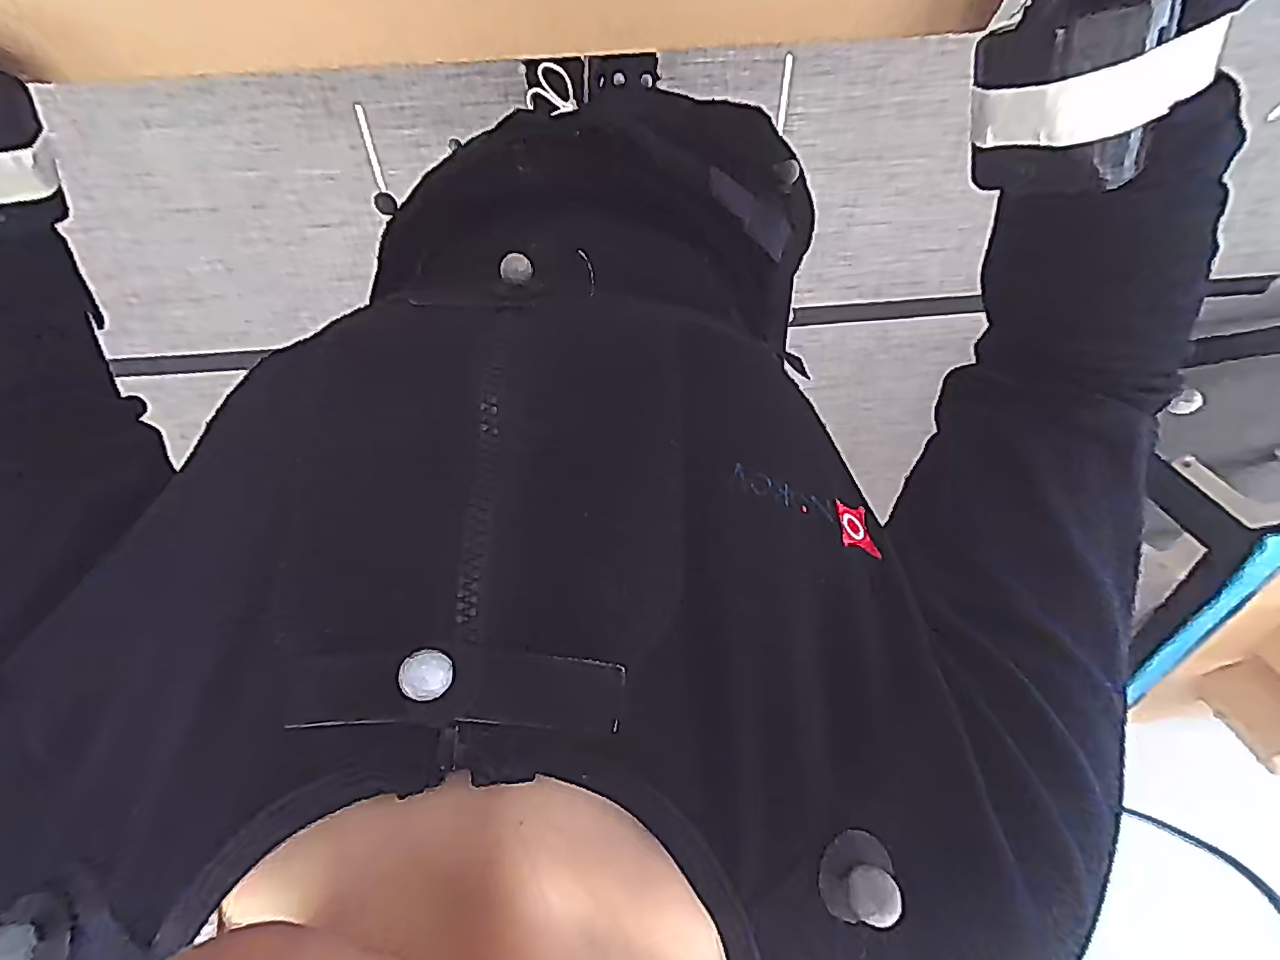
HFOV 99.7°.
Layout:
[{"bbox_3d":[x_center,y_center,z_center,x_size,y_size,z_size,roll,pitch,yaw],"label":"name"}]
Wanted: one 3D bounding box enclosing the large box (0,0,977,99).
[{"bbox_3d":[-0.065,-0.374,0.144,0.408,0.320,0.320,-5,160,-1],"label":"large box"}]
